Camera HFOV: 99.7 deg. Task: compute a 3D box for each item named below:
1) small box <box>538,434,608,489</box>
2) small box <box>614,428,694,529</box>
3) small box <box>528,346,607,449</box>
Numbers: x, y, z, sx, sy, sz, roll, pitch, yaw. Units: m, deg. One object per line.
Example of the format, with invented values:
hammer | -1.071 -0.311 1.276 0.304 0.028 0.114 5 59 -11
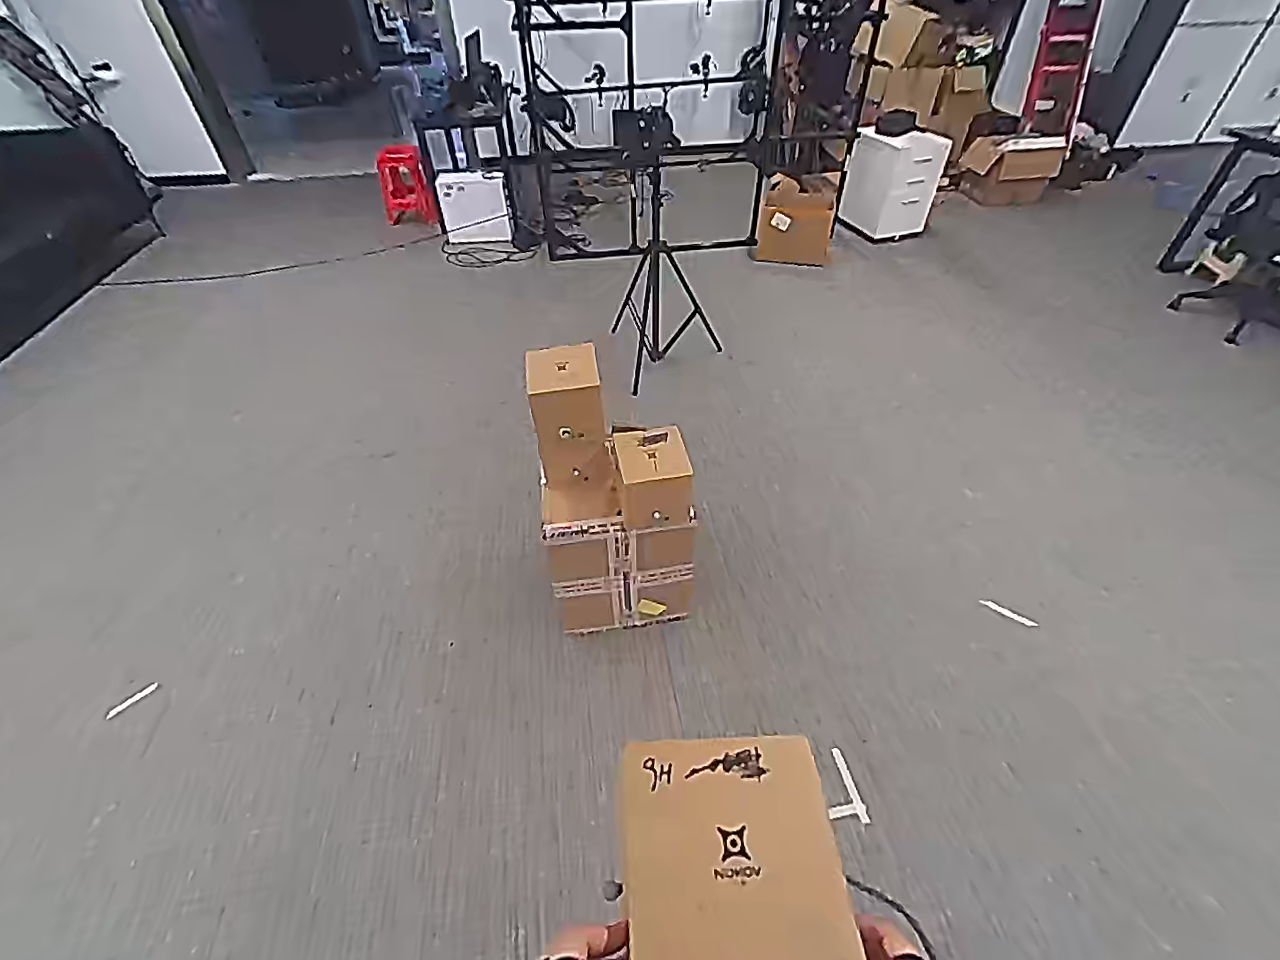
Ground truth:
small box | -0.179 -0.101 1.440 0.168 0.176 0.179 -8 47 -5
small box | 0.029 -0.003 1.339 0.168 0.176 0.179 -8 48 -7
small box | -0.176 -0.199 1.308 0.168 0.176 0.179 -9 48 -4
